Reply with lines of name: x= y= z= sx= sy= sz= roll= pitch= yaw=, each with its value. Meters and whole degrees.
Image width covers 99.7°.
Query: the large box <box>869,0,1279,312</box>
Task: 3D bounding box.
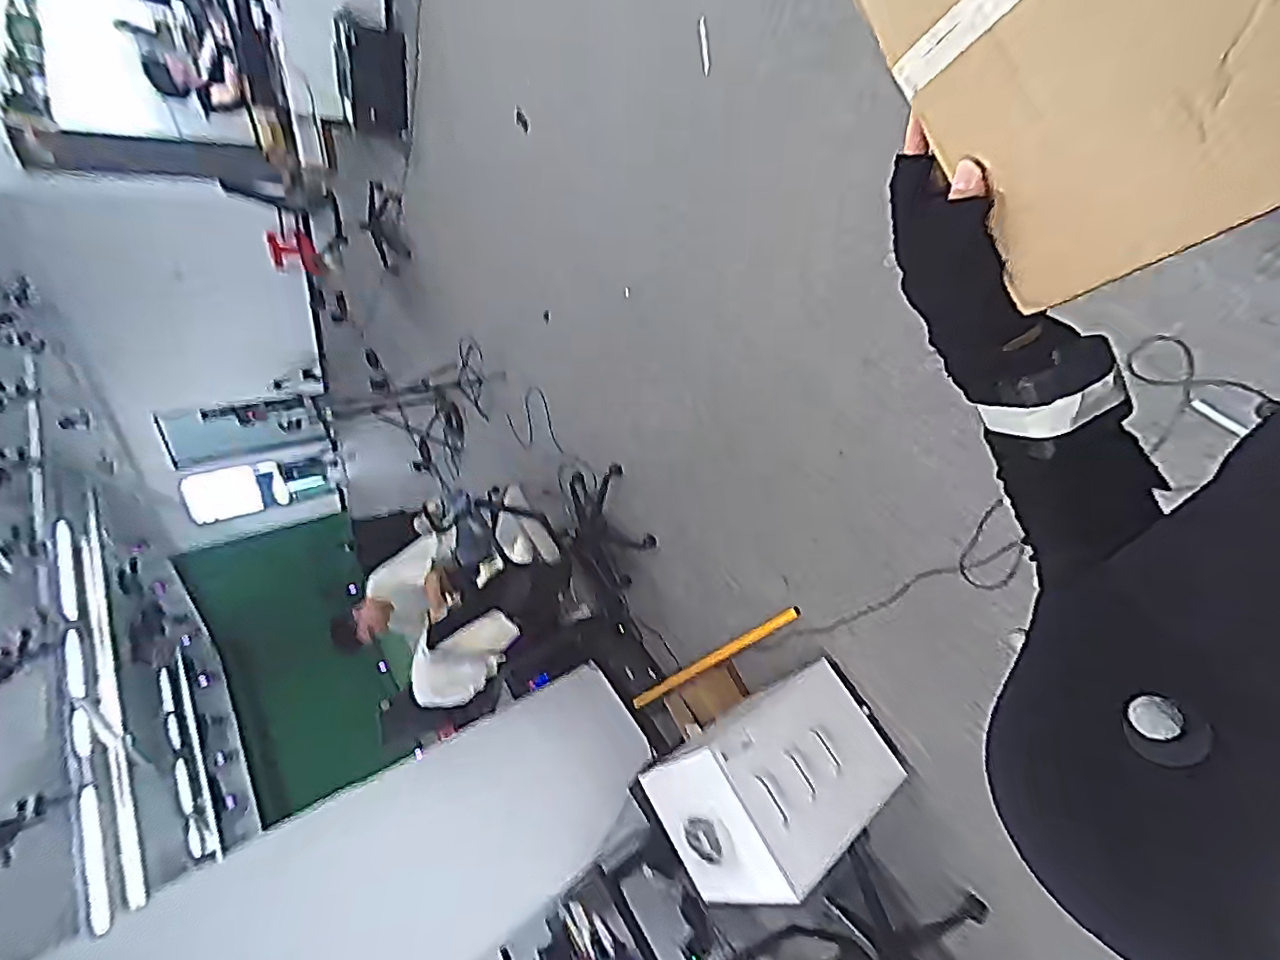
large box: x=0.368 y=-0.344 z=0.233 sx=0.408 sy=0.320 sz=0.320 roll=-24 pitch=96 yaw=58
